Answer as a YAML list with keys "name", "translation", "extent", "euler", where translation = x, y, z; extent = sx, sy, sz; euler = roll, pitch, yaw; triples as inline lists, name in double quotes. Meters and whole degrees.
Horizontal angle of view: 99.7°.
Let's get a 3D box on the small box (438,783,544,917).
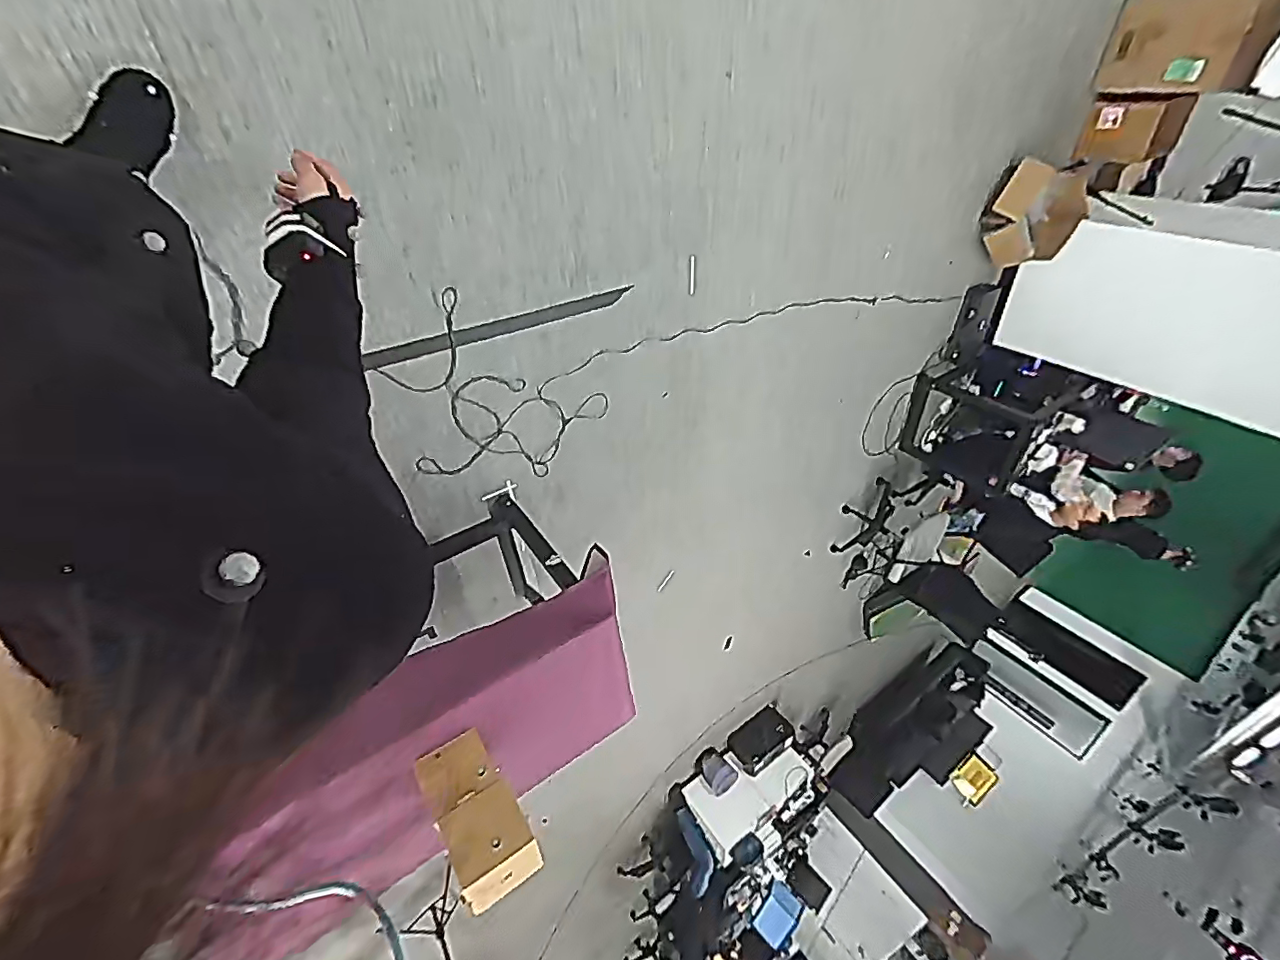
- name: "small box"
  translation: [-0.348, 0.859, 1.270]
  extent: [0.179, 0.176, 0.168]
  euler: [-23, 132, -27]
